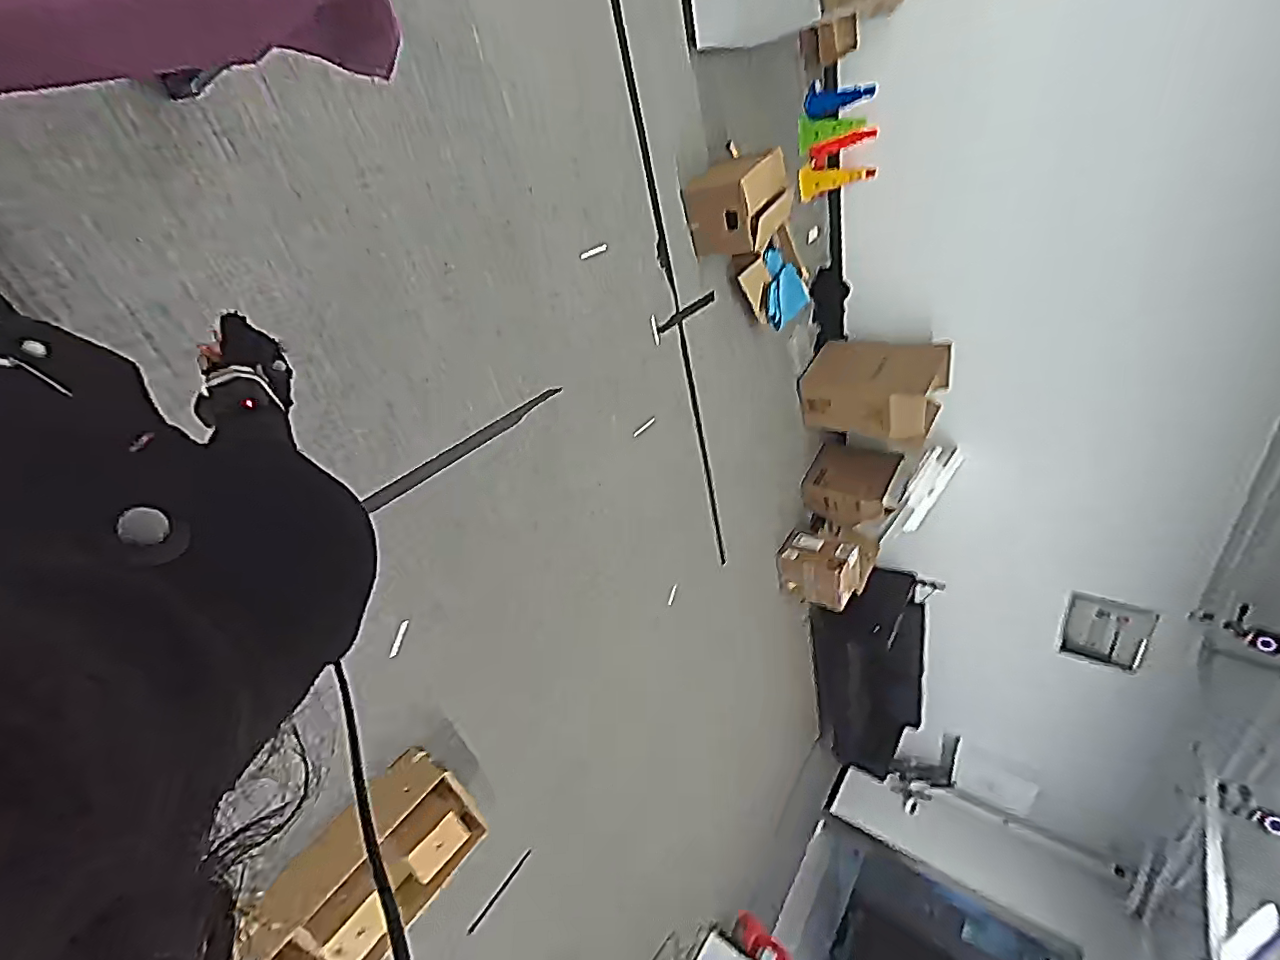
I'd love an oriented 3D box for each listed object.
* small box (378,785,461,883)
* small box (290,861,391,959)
[{"bbox_3d":[-0.733,1.161,1.782,0.179,0.176,0.168,-40,130,-39],"label":"small box"},{"bbox_3d":[-0.893,1.293,1.613,0.179,0.176,0.168,-44,131,-39],"label":"small box"}]
